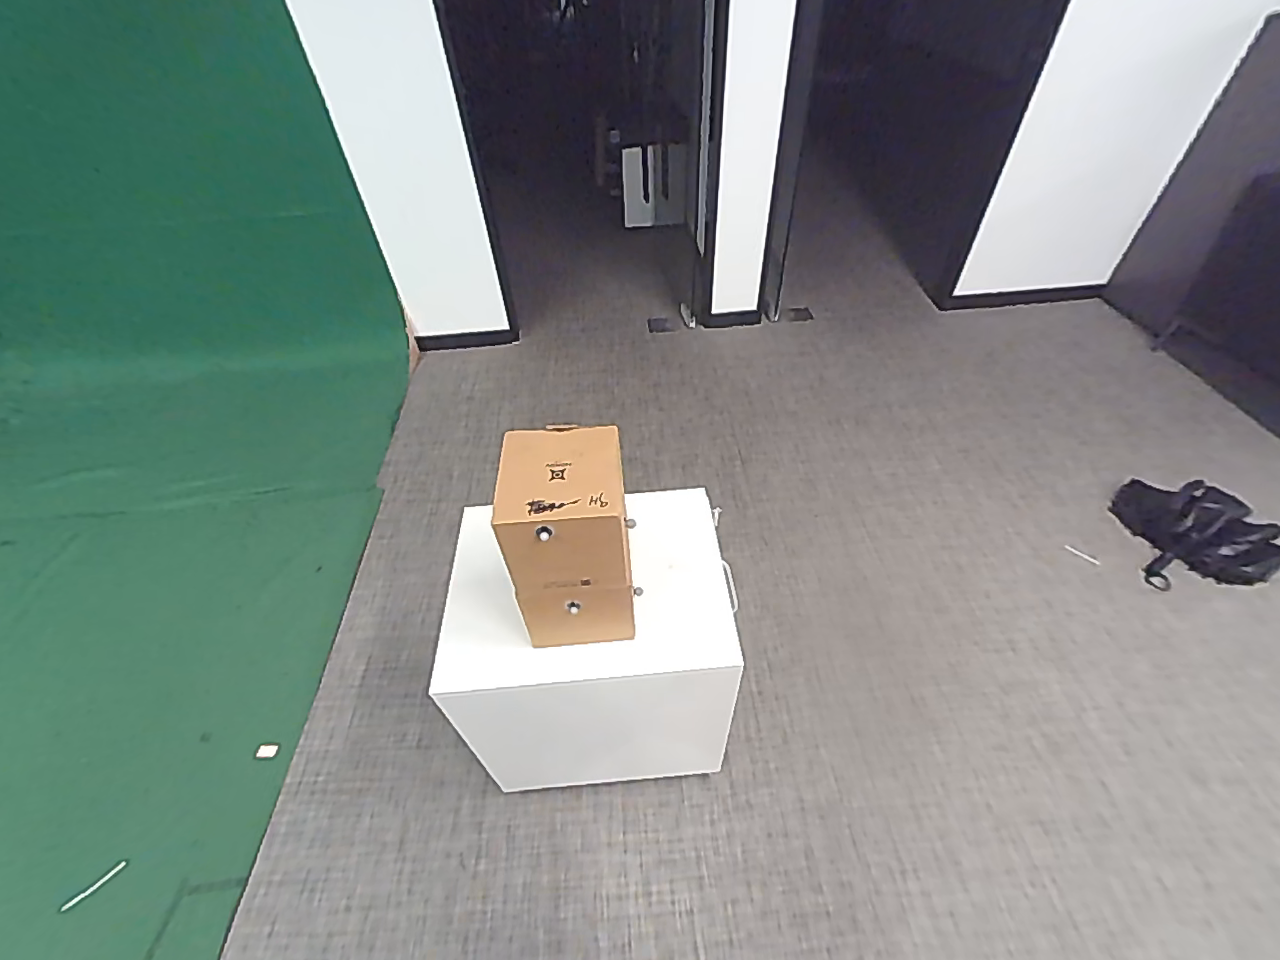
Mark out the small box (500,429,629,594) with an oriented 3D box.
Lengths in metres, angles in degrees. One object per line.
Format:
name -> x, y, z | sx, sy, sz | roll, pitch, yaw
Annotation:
small box -> -0.104, 0.047, 0.802 | 0.168, 0.176, 0.179 | -5, 47, -3

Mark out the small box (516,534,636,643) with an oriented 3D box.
small box -> -0.101, 0.161, 0.915 | 0.179, 0.176, 0.168 | -4, 46, -2
